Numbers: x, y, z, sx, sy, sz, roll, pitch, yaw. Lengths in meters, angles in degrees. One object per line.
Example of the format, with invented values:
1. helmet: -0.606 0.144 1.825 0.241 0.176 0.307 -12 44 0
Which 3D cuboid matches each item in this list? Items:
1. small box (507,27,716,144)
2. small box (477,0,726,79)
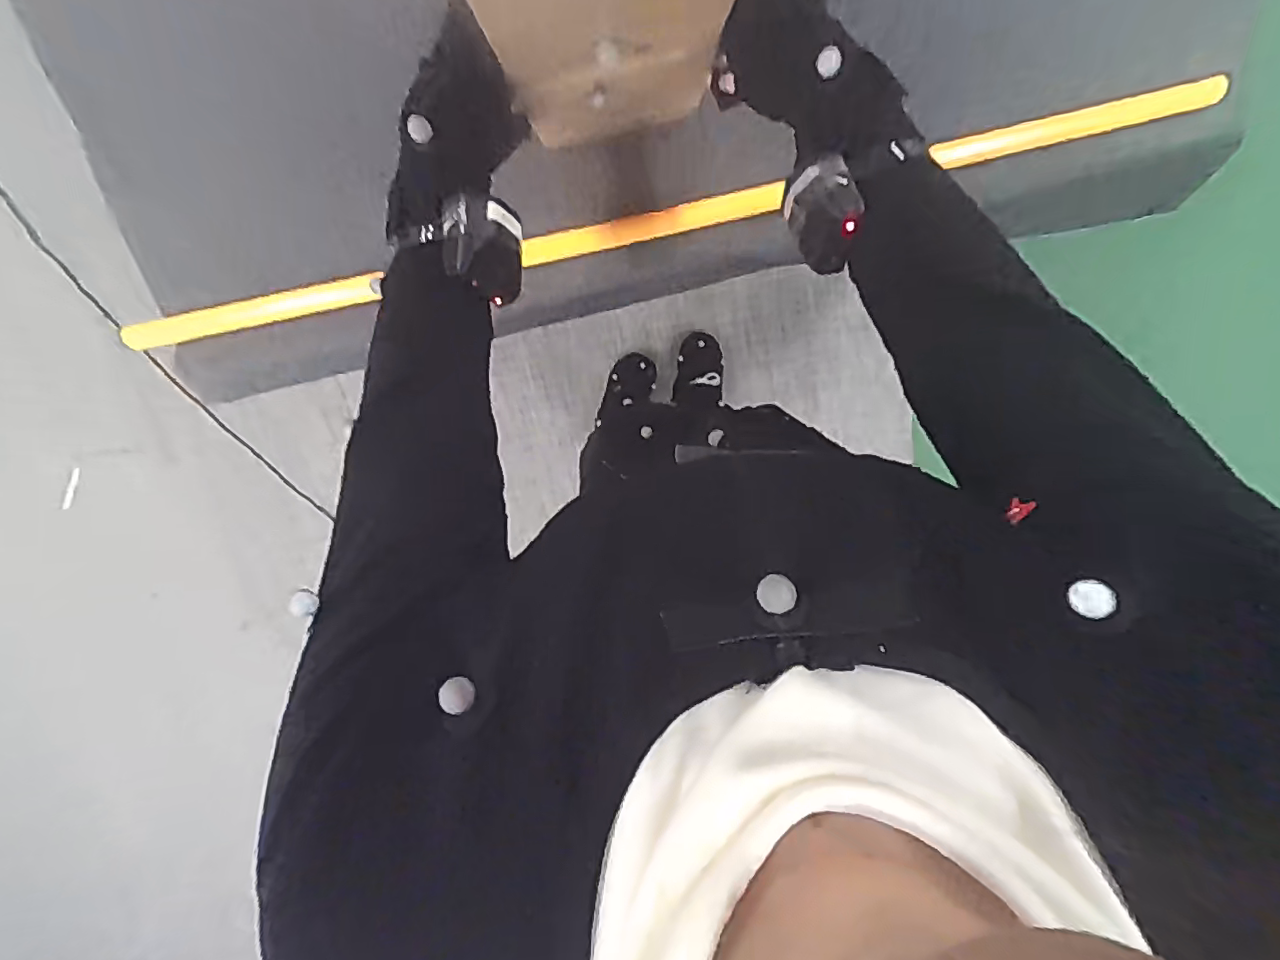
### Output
1. small box: -0.038 -0.428 0.475 0.168 0.176 0.179 -11 110 3
2. small box: -0.034 -0.378 0.316 0.168 0.176 0.179 -10 110 2
